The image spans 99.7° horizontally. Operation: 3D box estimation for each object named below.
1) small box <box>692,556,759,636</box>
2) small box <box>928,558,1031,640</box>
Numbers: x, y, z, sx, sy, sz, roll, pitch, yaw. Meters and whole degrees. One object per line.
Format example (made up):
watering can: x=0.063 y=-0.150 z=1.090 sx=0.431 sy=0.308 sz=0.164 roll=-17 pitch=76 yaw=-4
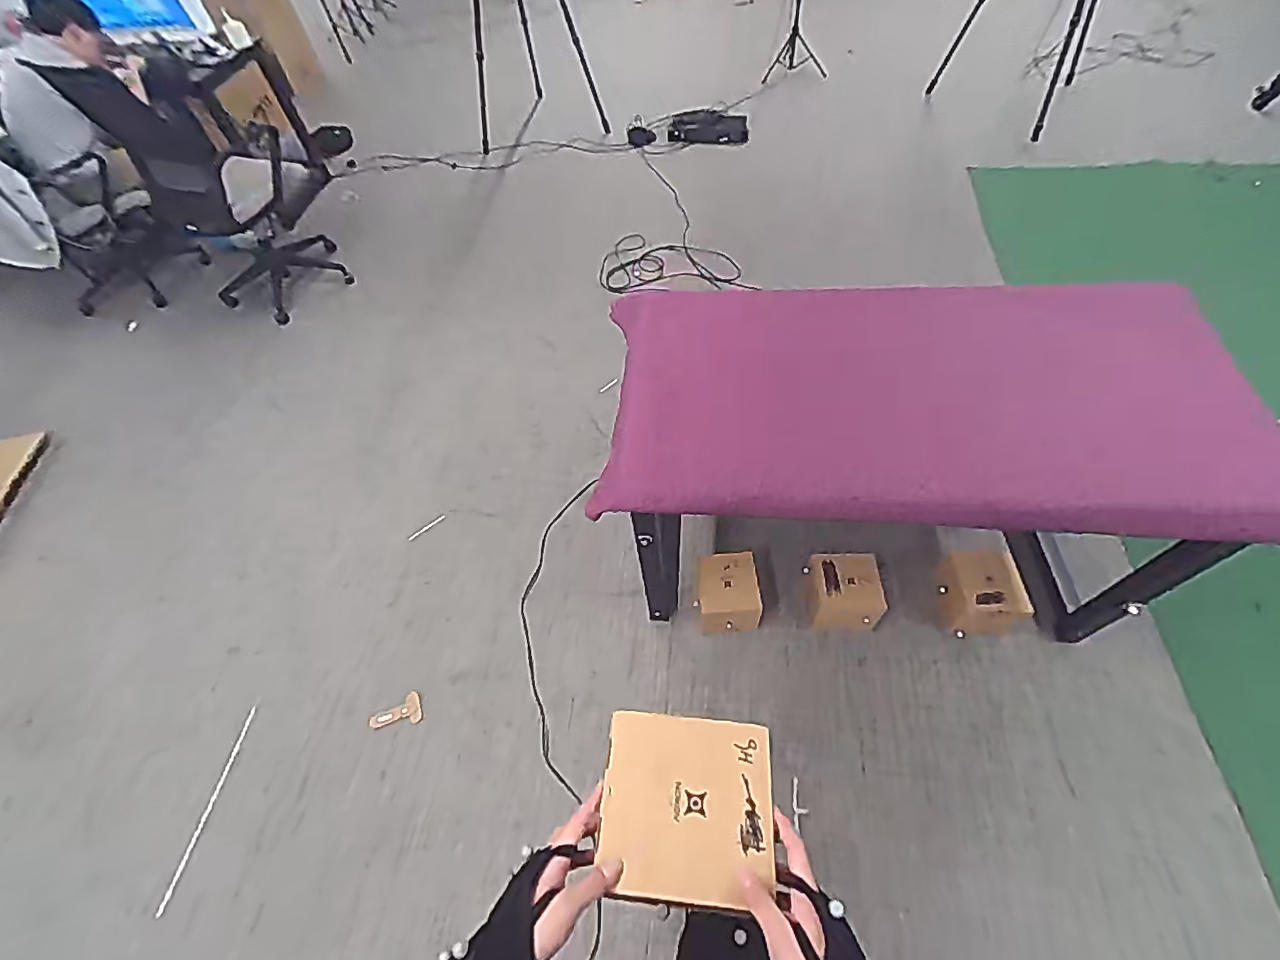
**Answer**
small box: x=0.241 y=0.338 z=1.552 sx=0.168 sy=0.176 sz=0.179 roll=-5 pitch=54 yaw=2
small box: x=0.925 y=0.333 z=1.492 sx=0.168 sy=0.176 sz=0.179 roll=0 pitch=54 yaw=5
